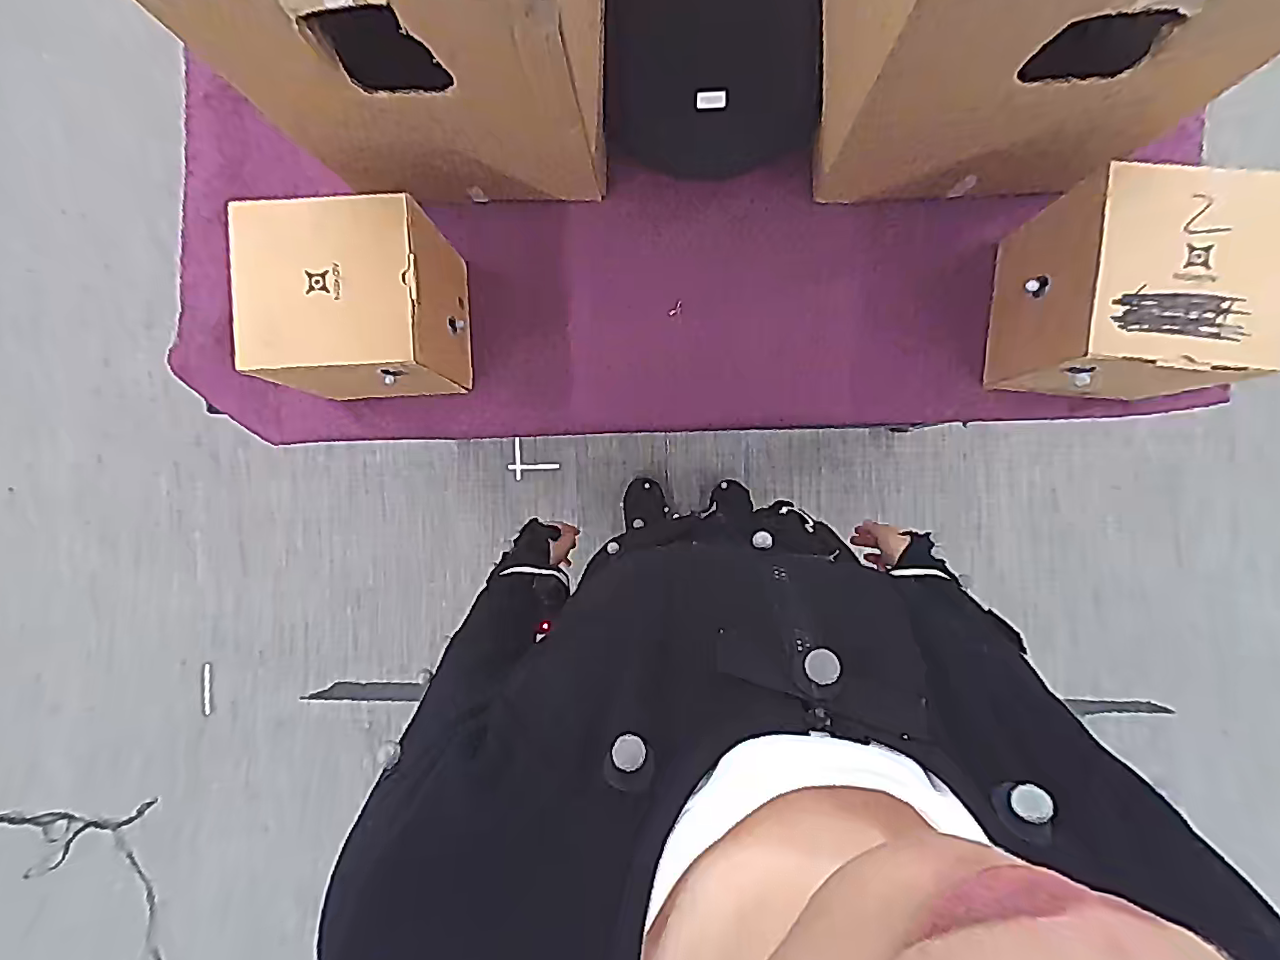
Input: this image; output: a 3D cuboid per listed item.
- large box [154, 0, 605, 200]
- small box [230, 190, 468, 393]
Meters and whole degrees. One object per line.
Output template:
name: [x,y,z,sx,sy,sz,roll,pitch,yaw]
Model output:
large box: [-0.201,-0.548,0.529,0.320,0.320,0.408,1,93,4]
small box: [-0.309,-0.195,0.605,0.179,0.176,0.168,-4,90,0]
